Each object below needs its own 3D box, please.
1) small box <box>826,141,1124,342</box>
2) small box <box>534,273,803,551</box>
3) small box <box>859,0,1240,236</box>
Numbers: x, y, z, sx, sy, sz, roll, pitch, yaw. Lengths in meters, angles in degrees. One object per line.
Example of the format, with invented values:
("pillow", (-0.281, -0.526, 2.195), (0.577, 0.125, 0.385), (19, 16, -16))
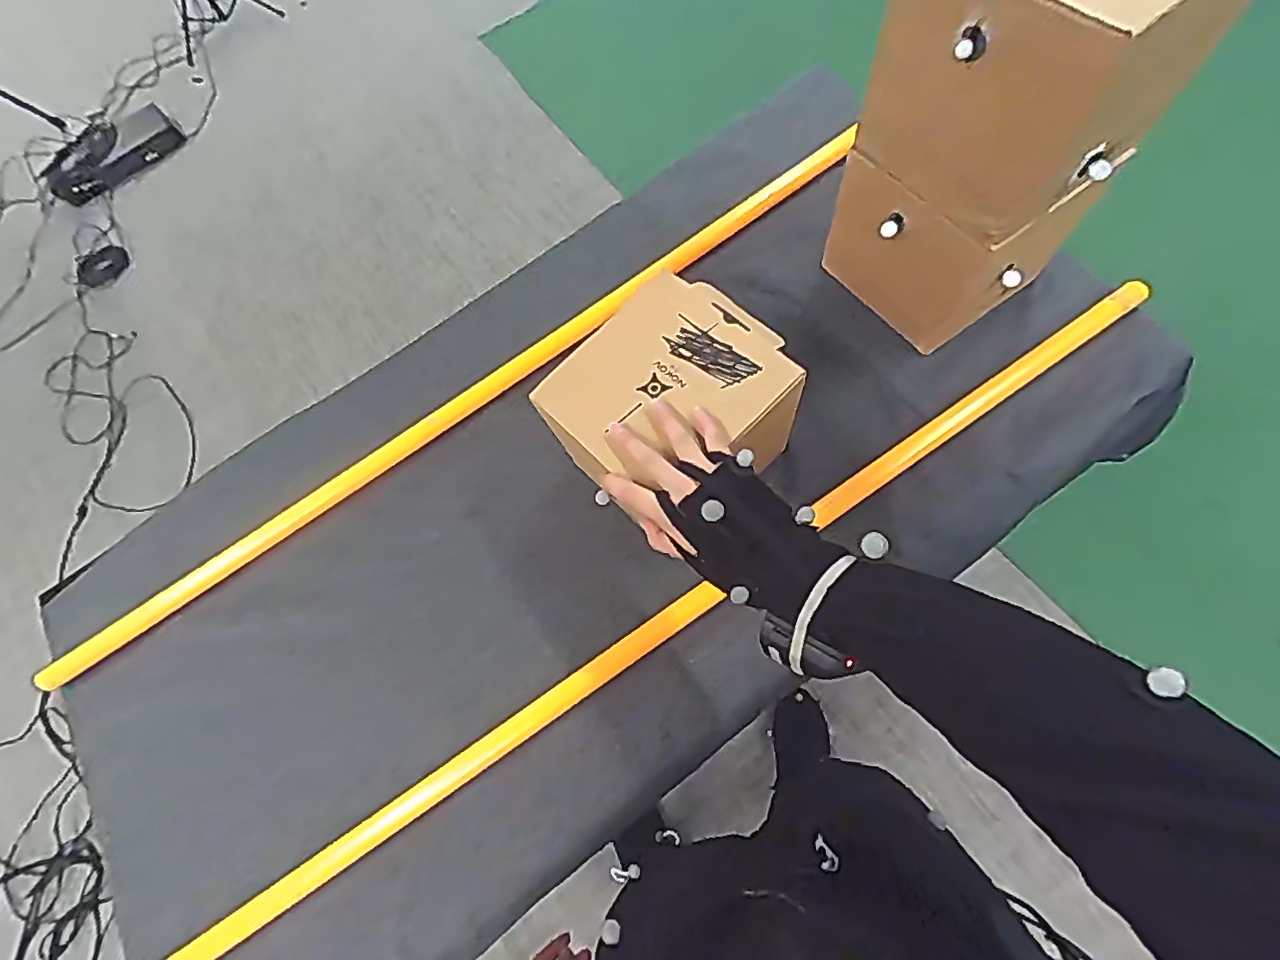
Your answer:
("small box", (0.324, -0.273, 0.570), (0.168, 0.176, 0.179), (-35, 68, -4))
("small box", (0.031, -0.056, 0.535), (0.179, 0.176, 0.168), (-44, 70, -7))
("small box", (0.302, -0.334, 0.421), (0.168, 0.176, 0.179), (-38, 69, -4))
